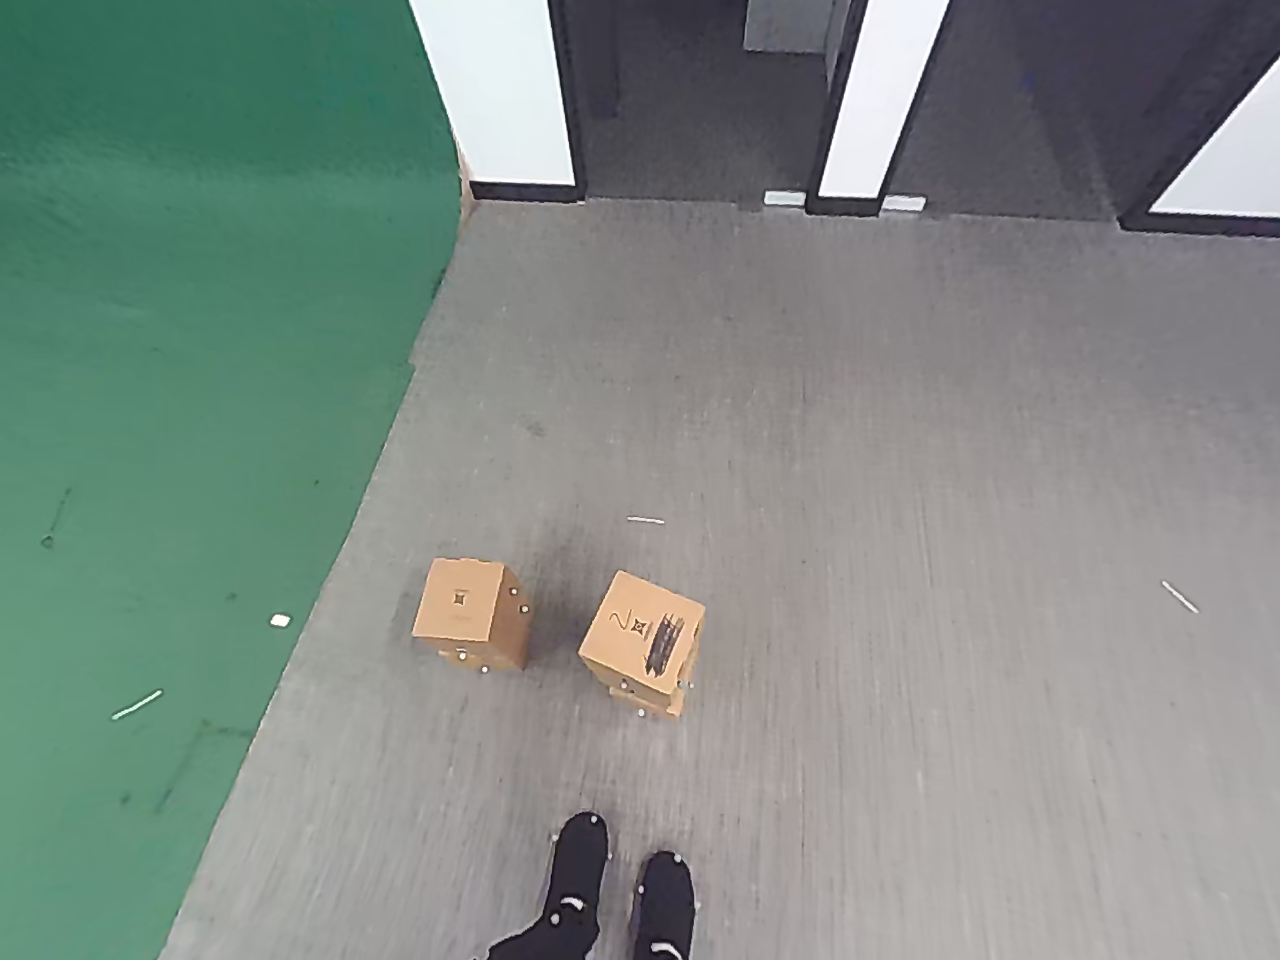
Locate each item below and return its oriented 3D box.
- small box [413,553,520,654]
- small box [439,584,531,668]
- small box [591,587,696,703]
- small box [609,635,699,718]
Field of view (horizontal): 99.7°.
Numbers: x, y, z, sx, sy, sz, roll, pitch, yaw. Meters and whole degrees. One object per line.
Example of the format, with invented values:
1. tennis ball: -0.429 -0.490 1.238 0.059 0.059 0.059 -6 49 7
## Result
1. small box: -0.377 0.280 1.216 0.168 0.176 0.179 2 61 5
2. small box: -0.378 0.363 1.356 0.168 0.176 0.179 3 61 4
3. small box: 0.014 0.359 1.156 0.168 0.176 0.179 19 64 12
4. small box: 0.036 0.450 1.291 0.168 0.176 0.179 15 63 11
